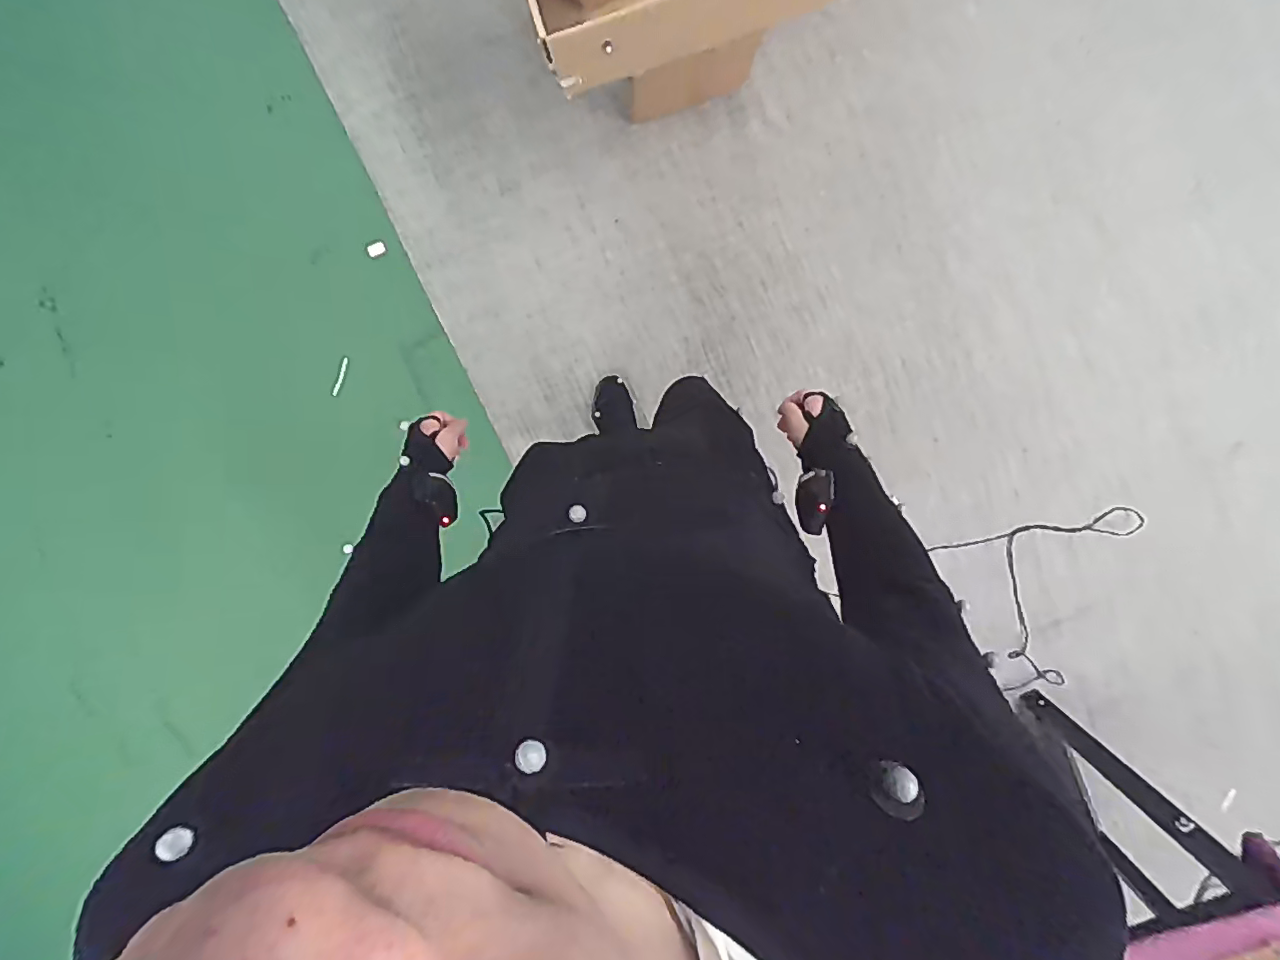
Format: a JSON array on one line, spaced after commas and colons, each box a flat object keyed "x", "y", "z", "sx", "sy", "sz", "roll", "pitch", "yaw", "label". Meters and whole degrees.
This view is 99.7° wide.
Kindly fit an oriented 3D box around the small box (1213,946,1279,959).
[{"x": 1.212, "y": 1.010, "z": 0.996, "sx": 0.168, "sy": 0.176, "sz": 0.179, "roll": -24, "pitch": 103, "yaw": 8, "label": "small box"}]
